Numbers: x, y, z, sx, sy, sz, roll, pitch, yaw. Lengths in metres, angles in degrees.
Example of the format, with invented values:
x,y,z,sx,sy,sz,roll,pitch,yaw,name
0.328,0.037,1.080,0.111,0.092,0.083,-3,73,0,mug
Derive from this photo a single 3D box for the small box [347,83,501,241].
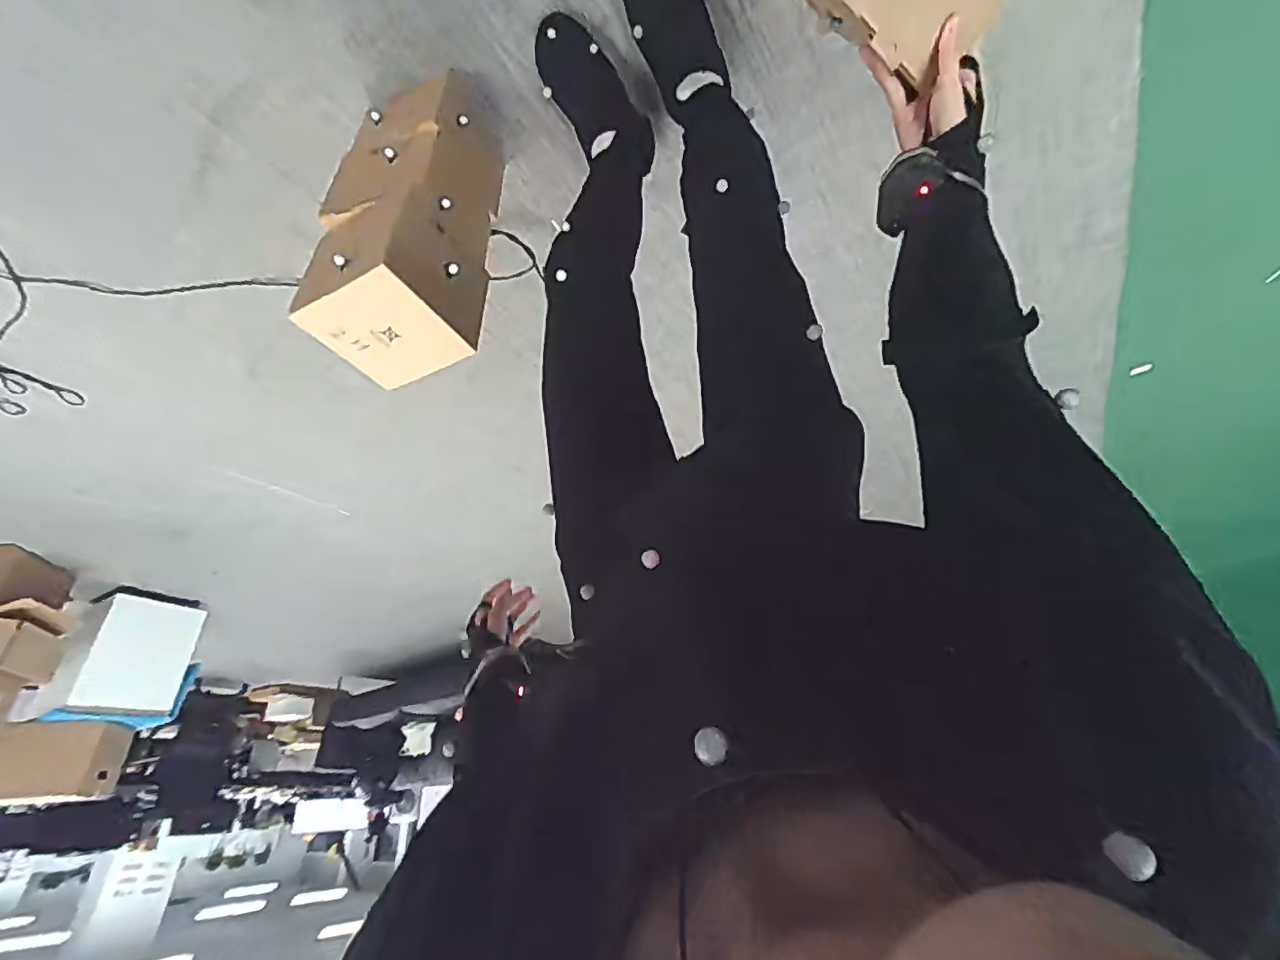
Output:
x,y,z,sx,sy,sz,roll,pitch,yaw,name
-0.357,-0.538,0.926,0.168,0.176,0.179,-11,149,15,small box

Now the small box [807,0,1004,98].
x,y,z,sx,sy,sz,roll,pitch,yaw,name
0.232,-0.498,0.472,0.168,0.176,0.179,5,141,-41,small box

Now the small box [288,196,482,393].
x,y,z,sx,sy,sz,roll,pitch,yaw,name
-0.341,-0.257,0.760,0.179,0.176,0.168,-15,146,21,small box
